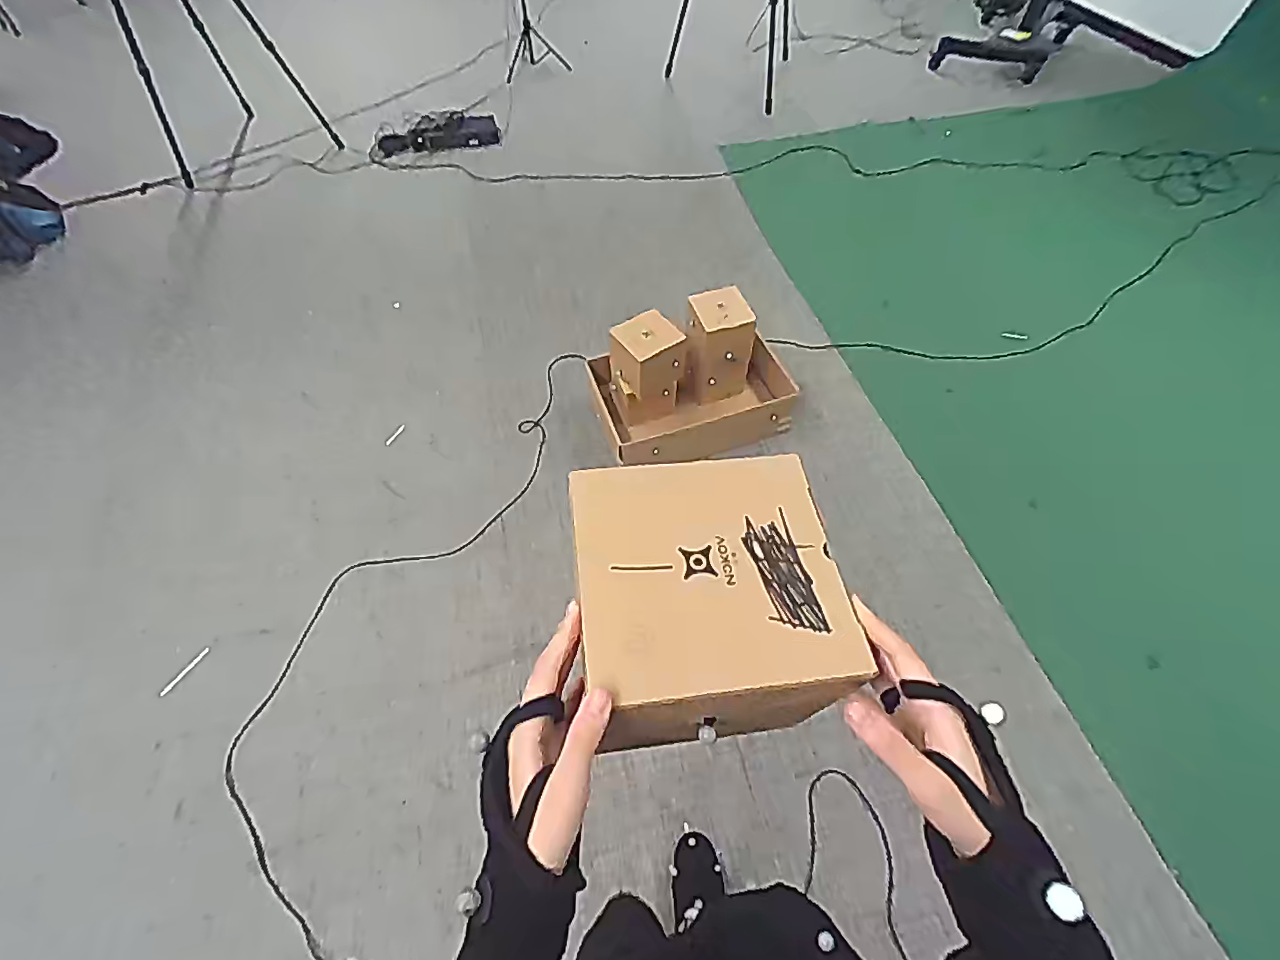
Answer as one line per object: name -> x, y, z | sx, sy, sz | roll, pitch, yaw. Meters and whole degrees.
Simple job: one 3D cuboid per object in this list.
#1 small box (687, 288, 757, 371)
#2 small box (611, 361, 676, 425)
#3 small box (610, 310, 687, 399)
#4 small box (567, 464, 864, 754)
small box -> 0.252, -0.477, 1.720 | 0.168, 0.176, 0.179 | -16, 58, -7
small box -> 0.013, -0.307, 1.814 | 0.179, 0.176, 0.168 | -16, 59, -10
small box -> 0.024, -0.384, 1.671 | 0.179, 0.176, 0.168 | -31, 62, -18
small box -> 0.037, 0.106, 0.426 | 0.179, 0.176, 0.168 | -5, 56, -7
